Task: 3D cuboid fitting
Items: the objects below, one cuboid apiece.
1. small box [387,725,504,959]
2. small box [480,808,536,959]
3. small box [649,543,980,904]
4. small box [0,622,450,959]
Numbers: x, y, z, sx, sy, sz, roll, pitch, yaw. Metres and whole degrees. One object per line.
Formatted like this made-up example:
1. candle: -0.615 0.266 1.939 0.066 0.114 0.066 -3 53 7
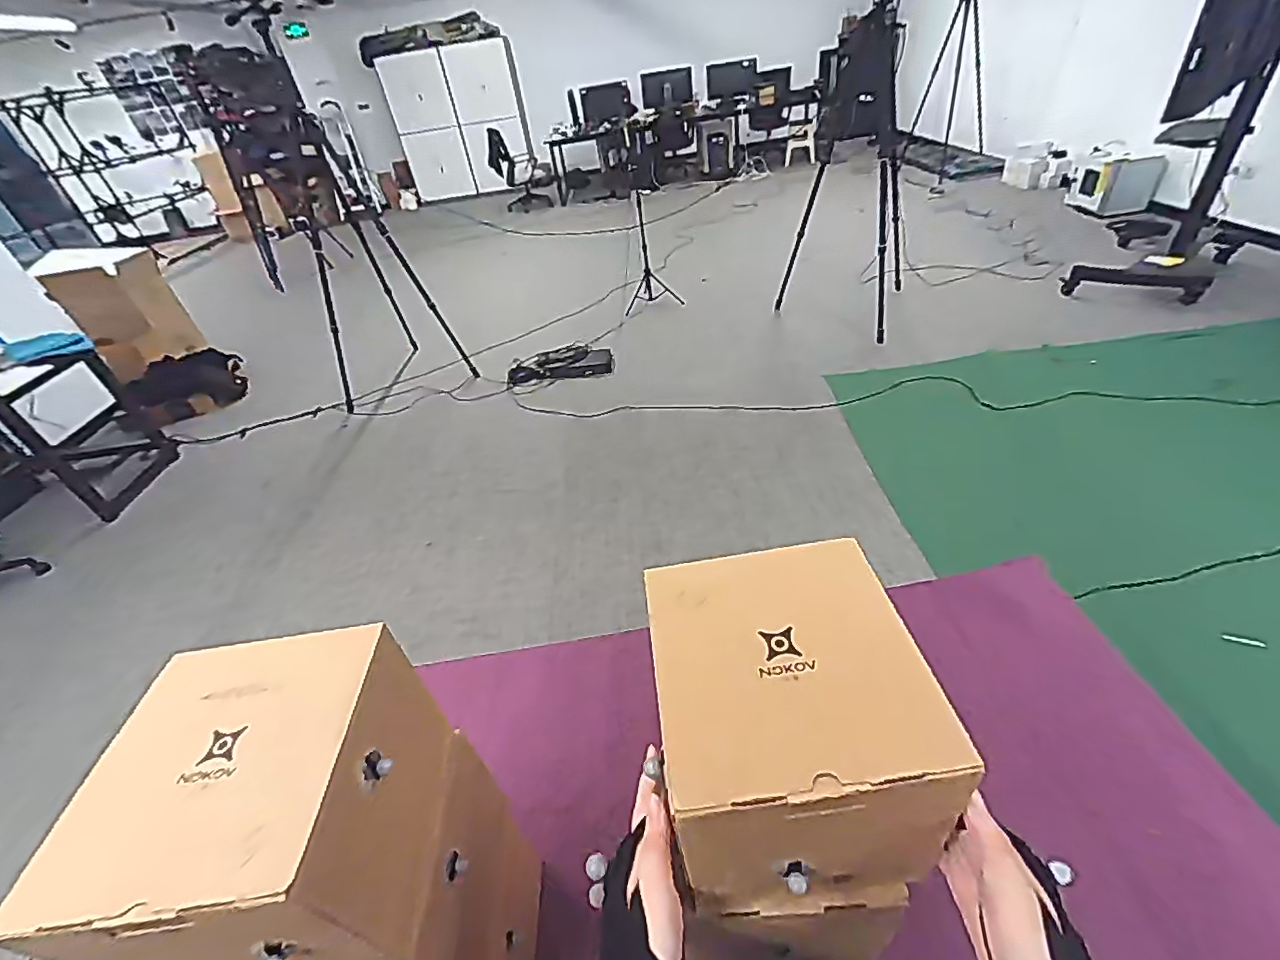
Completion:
1. small box: -0.237 0.357 0.500 0.168 0.176 0.179 -6 38 3
2. small box: -0.219 0.488 0.598 0.168 0.176 0.179 -6 39 2
3. small box: 0.100 0.174 0.397 0.168 0.176 0.179 -8 39 1
4. small box: -0.256 0.233 0.395 0.168 0.176 0.179 -7 38 1
